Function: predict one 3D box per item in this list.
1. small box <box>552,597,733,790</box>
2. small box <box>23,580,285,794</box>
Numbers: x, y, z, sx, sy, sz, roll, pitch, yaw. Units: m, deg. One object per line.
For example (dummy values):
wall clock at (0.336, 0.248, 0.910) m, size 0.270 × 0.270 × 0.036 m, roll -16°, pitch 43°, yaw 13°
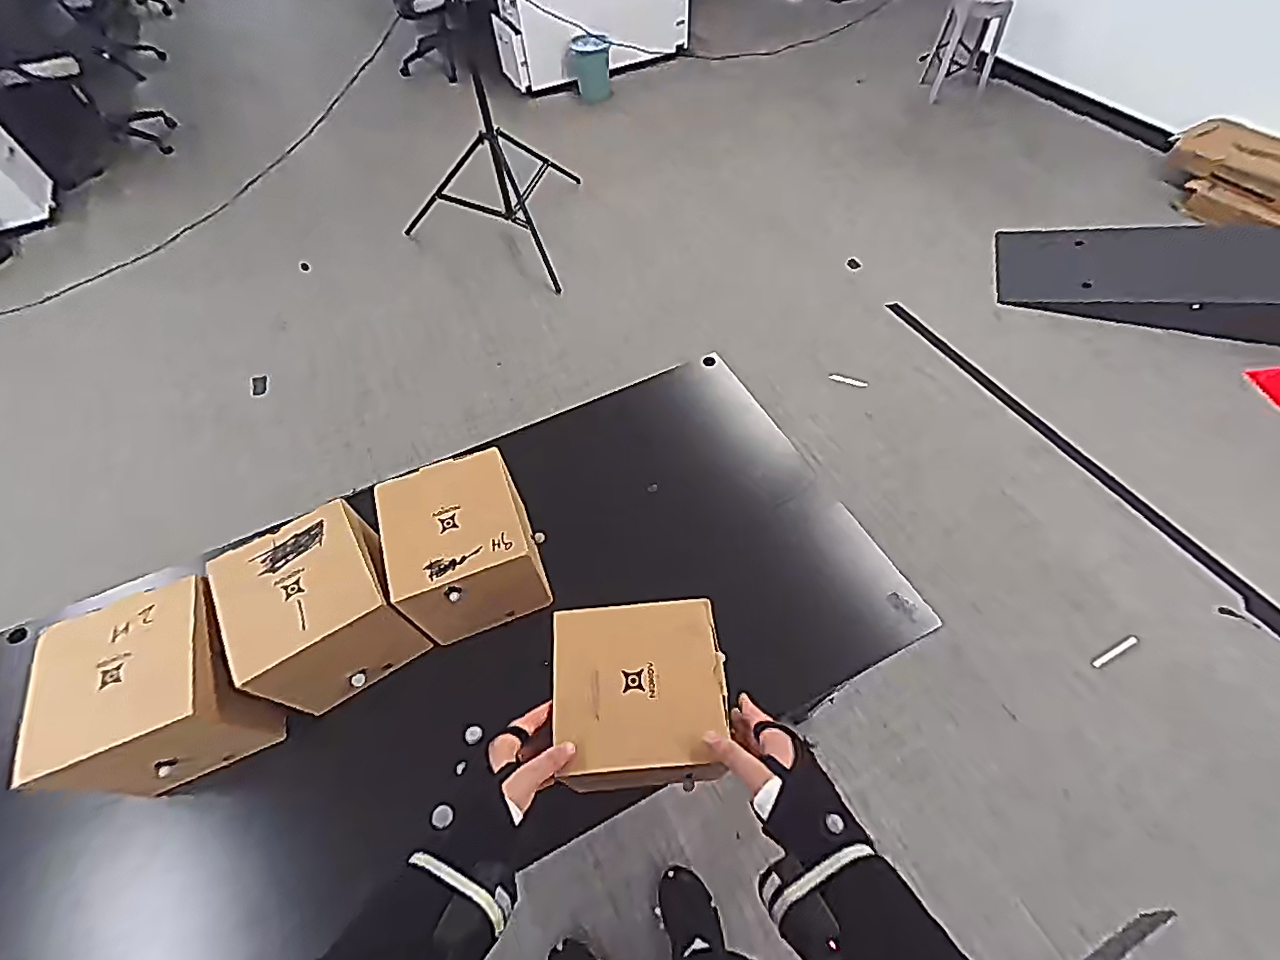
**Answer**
small box at (0.000, 0.250, 0.624) m, size 0.179 × 0.176 × 0.168 m, roll -7°, pitch 54°, yaw 0°
small box at (-0.561, 0.256, 0.655) m, size 0.168 × 0.176 × 0.179 m, roll -21°, pitch 57°, yaw -12°
